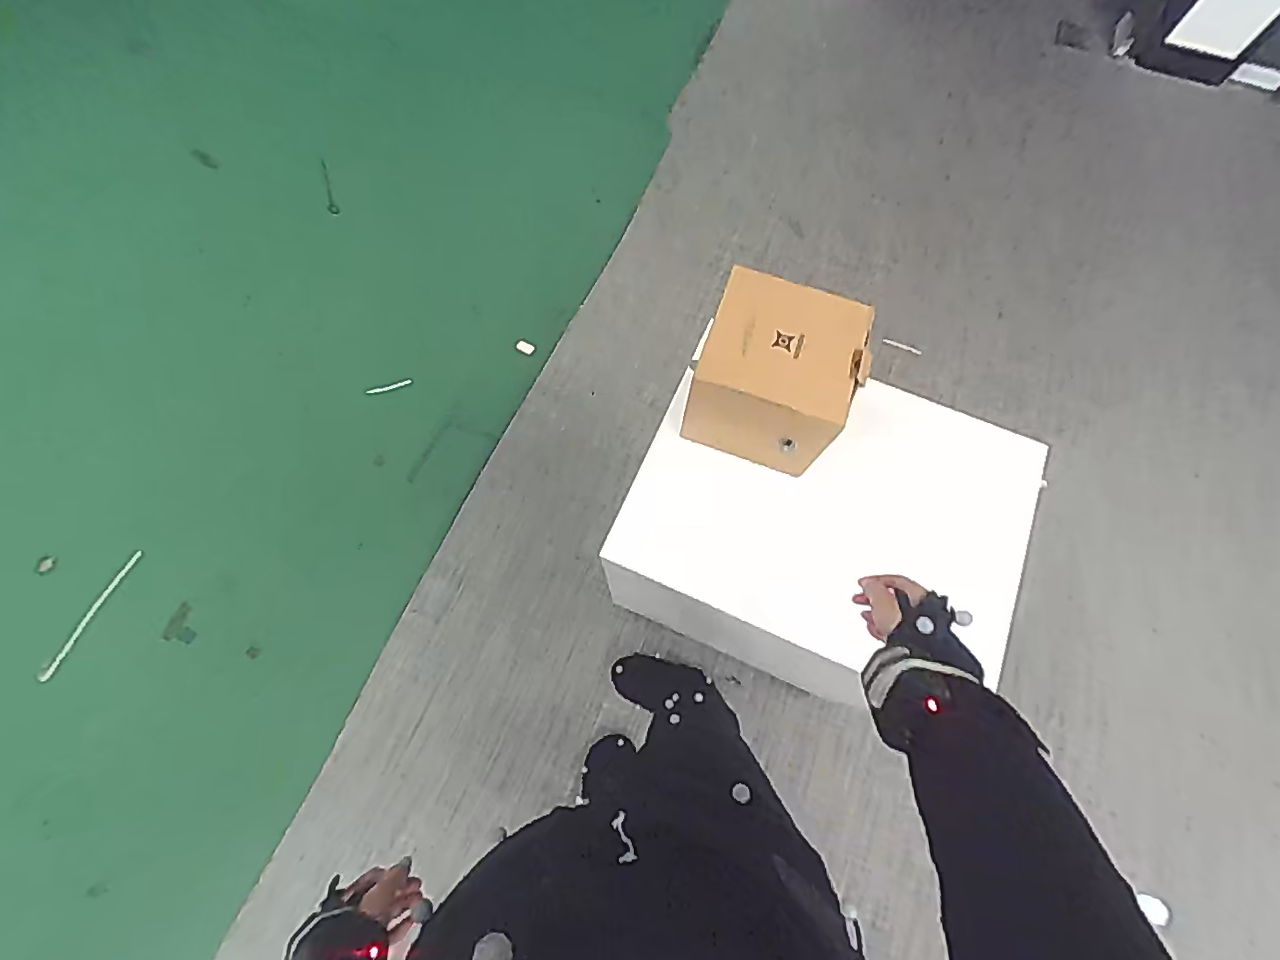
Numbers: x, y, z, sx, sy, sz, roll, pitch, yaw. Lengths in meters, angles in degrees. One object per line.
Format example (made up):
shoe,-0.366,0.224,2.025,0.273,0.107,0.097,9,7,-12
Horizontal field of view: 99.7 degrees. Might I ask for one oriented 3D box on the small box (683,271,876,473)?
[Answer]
small box,0.166,-0.125,0.687,0.179,0.176,0.168,19,71,6
